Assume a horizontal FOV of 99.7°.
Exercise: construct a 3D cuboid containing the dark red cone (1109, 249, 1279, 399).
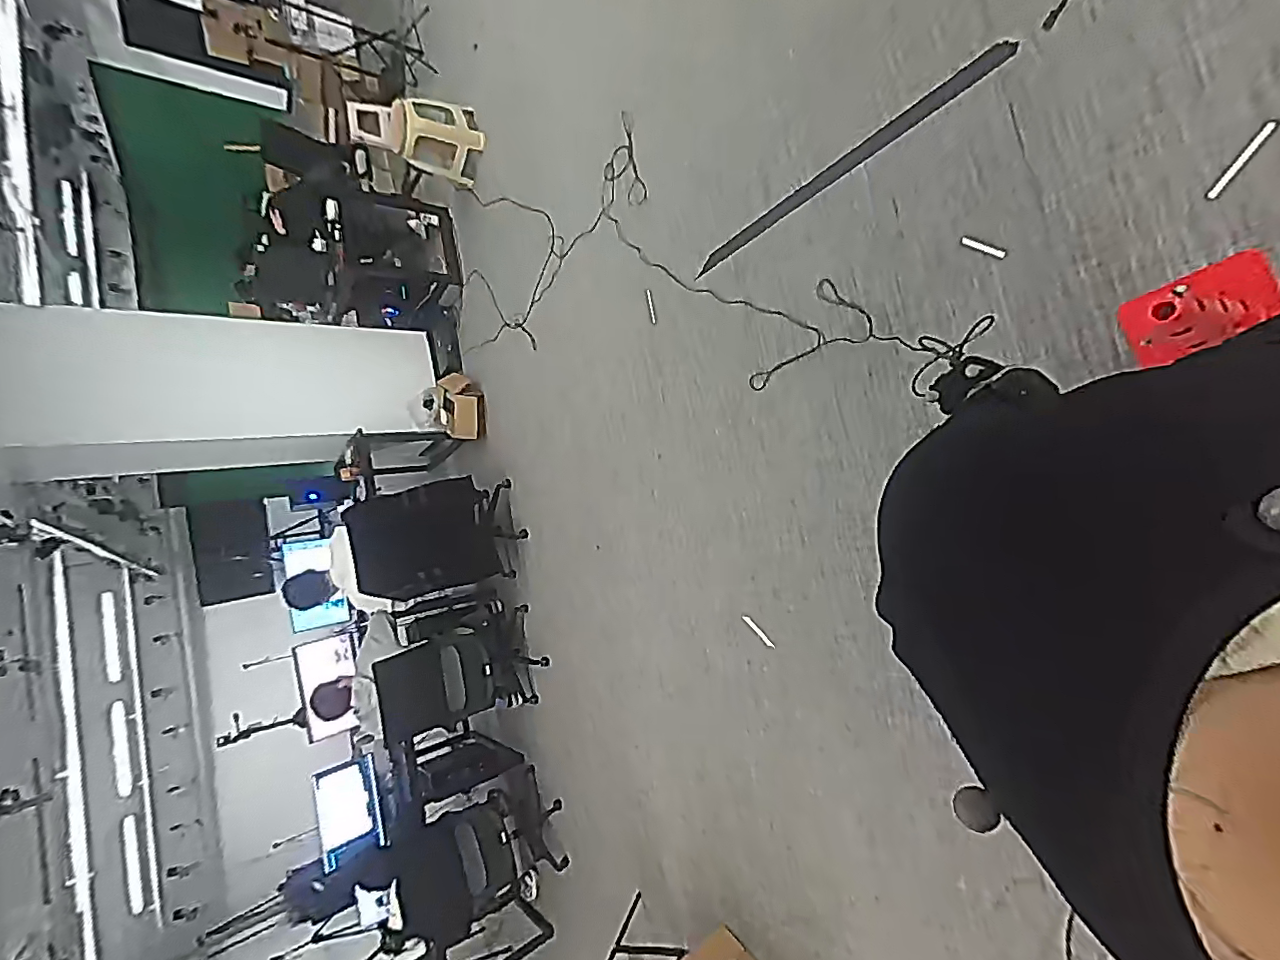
[{"bbox_3d":[0.840,-0.250,0.843,0.202,0.394,0.201,-30,71,51],"label":"dark red cone"}]
